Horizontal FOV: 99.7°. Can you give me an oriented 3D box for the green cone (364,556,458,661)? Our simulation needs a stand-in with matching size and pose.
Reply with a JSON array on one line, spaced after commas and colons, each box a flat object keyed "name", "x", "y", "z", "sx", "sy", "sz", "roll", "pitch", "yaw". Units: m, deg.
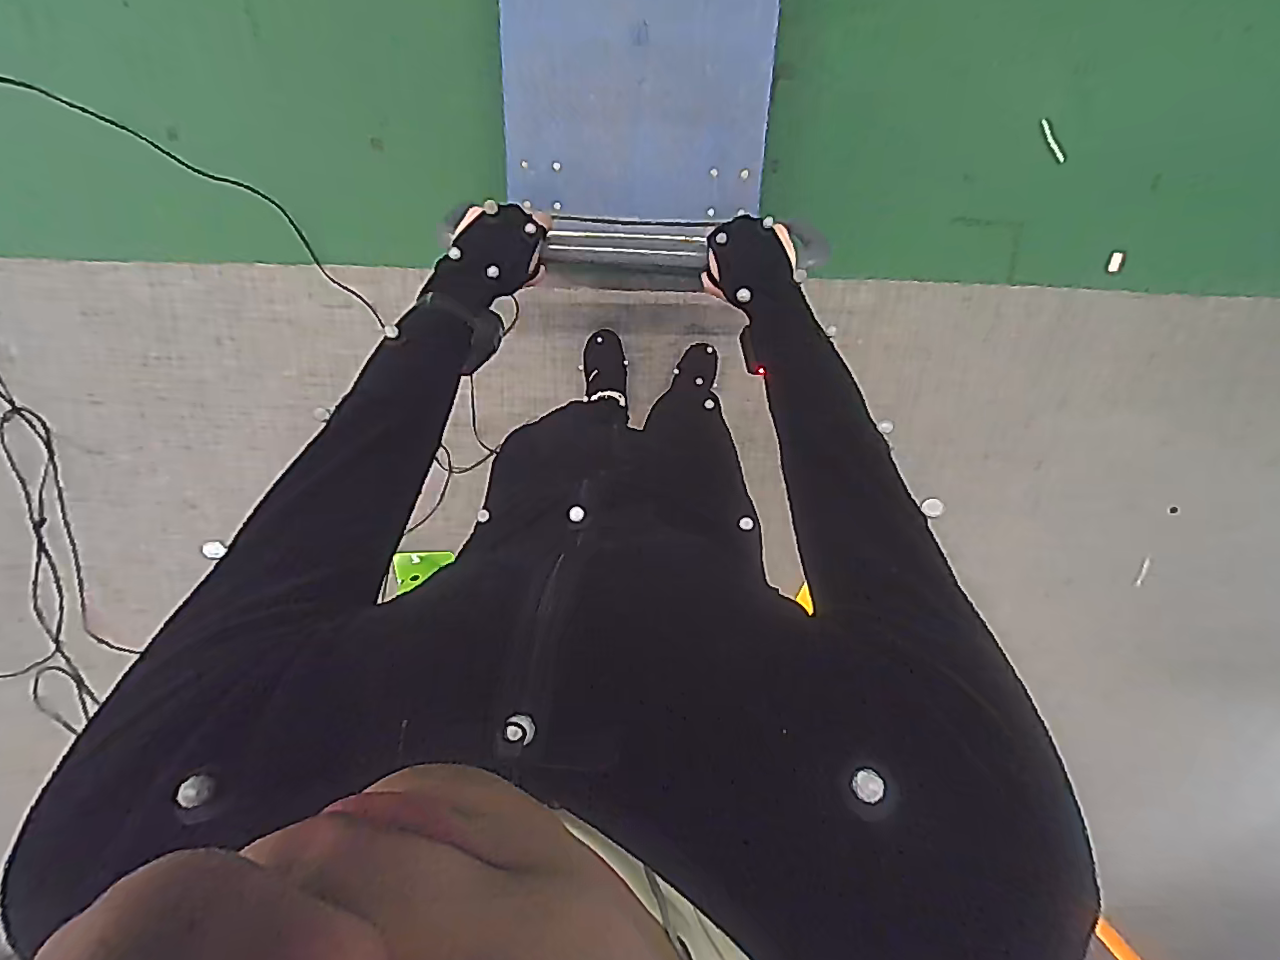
[{"name": "green cone", "x": -0.706, "y": 0.398, "z": 1.599, "sx": 0.202, "sy": 0.368, "sz": 0.200, "roll": -2, "pitch": 111, "yaw": 2}]
